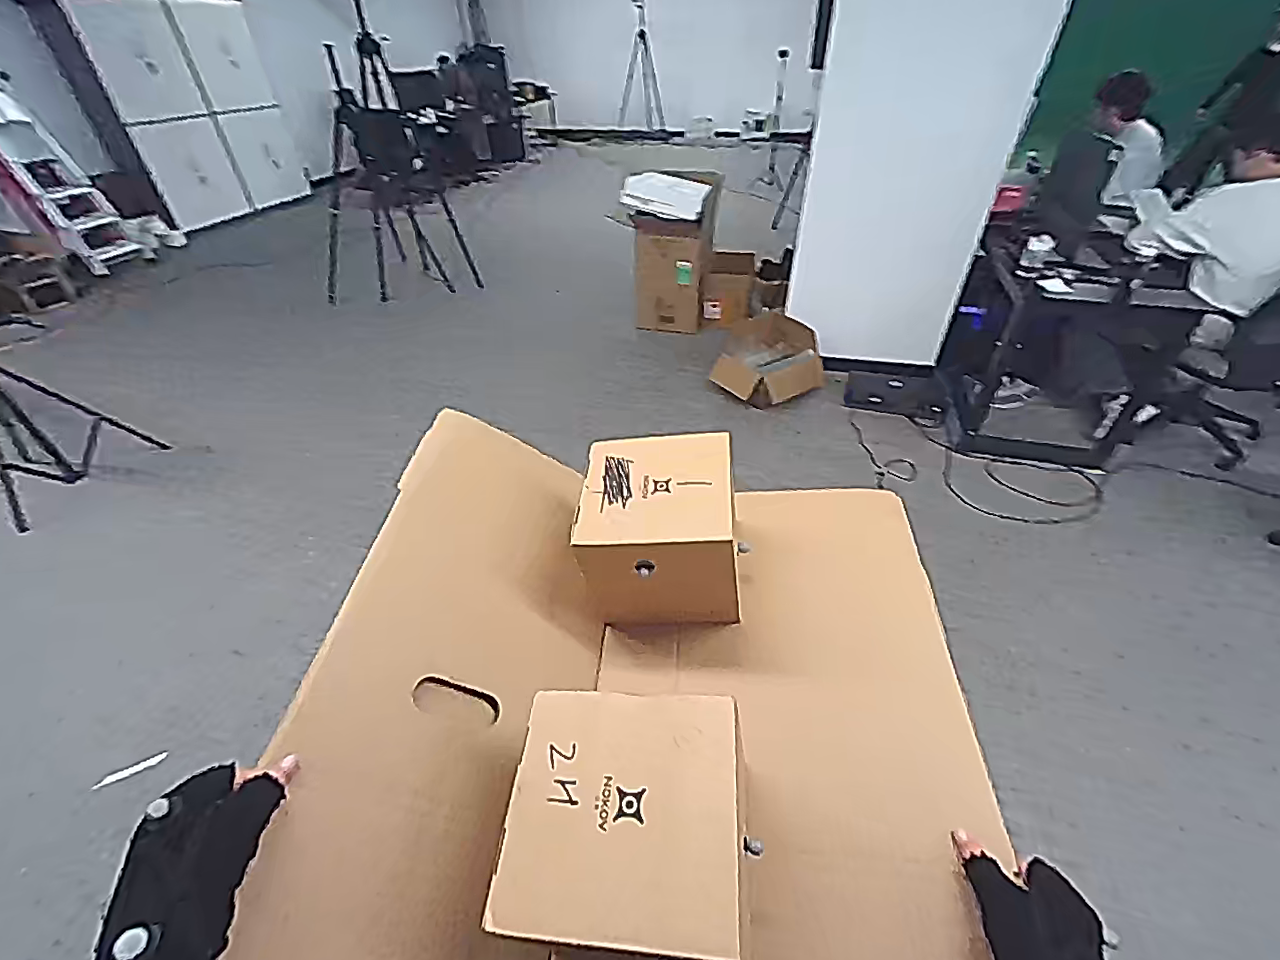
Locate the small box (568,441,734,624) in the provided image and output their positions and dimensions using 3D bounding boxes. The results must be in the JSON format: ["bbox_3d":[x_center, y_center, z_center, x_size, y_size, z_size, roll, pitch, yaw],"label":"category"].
[{"bbox_3d":[0.025,0.071,0.688,0.179,0.176,0.168,-3,46,10],"label":"small box"}]
